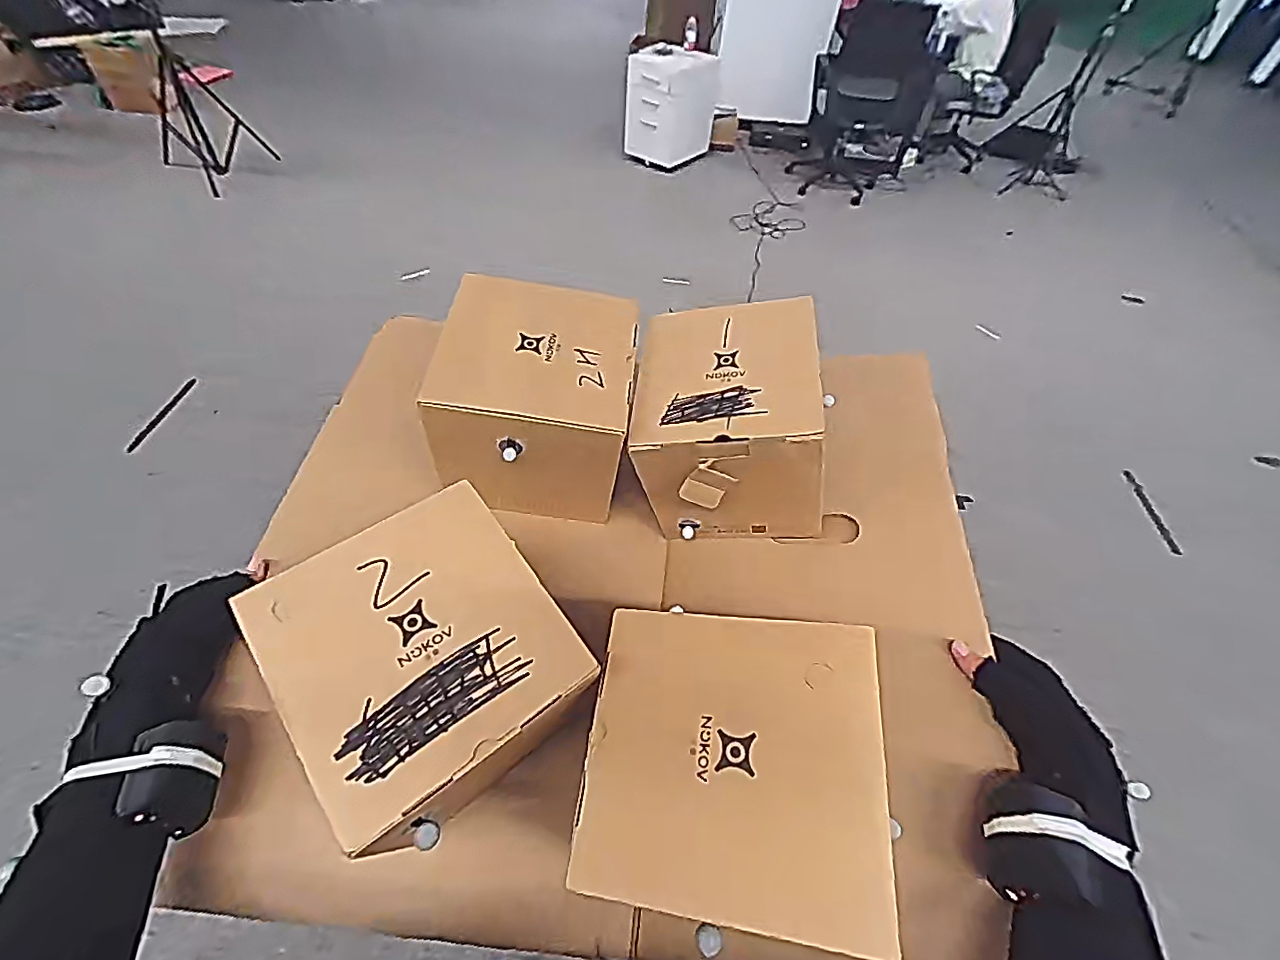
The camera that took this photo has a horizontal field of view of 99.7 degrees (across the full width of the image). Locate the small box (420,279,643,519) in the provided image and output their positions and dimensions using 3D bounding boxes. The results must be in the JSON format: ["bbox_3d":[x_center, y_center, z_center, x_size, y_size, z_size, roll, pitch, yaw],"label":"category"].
[{"bbox_3d":[-0.101,-0.075,0.560,0.179,0.176,0.168,9,58,-5],"label":"small box"}]

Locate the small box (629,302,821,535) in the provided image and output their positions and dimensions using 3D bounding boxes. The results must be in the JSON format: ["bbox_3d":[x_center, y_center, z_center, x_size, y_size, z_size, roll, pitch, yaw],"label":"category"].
[{"bbox_3d":[0.098,-0.053,0.561,0.168,0.176,0.179,-2,54,16],"label":"small box"}]
